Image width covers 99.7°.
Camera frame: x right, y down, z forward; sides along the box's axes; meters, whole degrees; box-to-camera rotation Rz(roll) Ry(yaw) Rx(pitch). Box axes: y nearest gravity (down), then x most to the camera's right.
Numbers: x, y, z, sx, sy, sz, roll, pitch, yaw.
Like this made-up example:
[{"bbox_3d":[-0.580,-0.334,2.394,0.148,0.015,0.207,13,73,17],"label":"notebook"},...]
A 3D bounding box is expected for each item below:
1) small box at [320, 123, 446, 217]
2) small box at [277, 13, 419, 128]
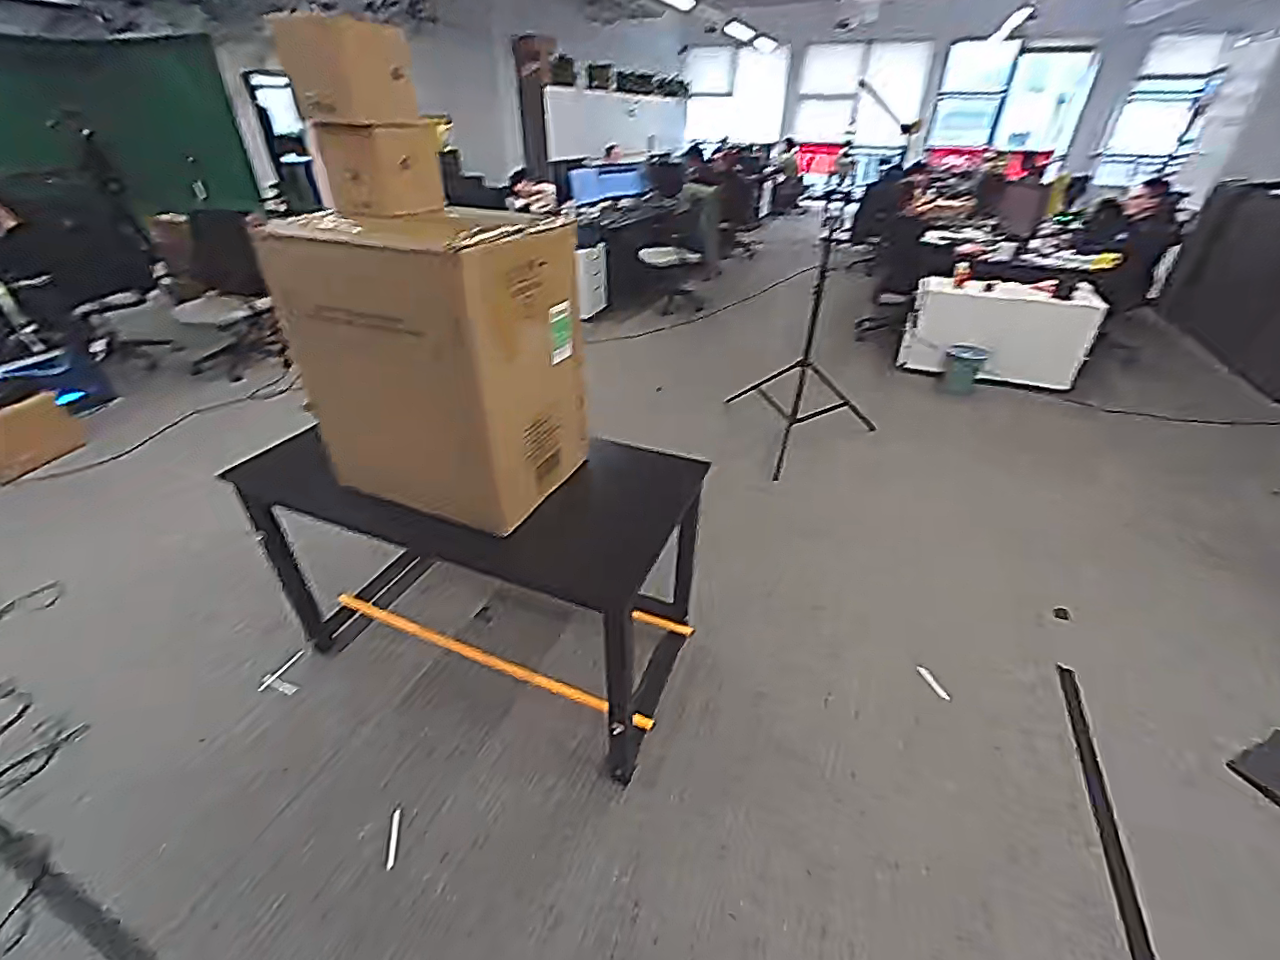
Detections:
[{"bbox_3d":[-0.556,-0.689,1.197,0.168,0.176,0.179,15,36,18],"label":"small box"},{"bbox_3d":[-0.568,-0.809,1.081,0.168,0.176,0.179,12,35,17],"label":"small box"}]
